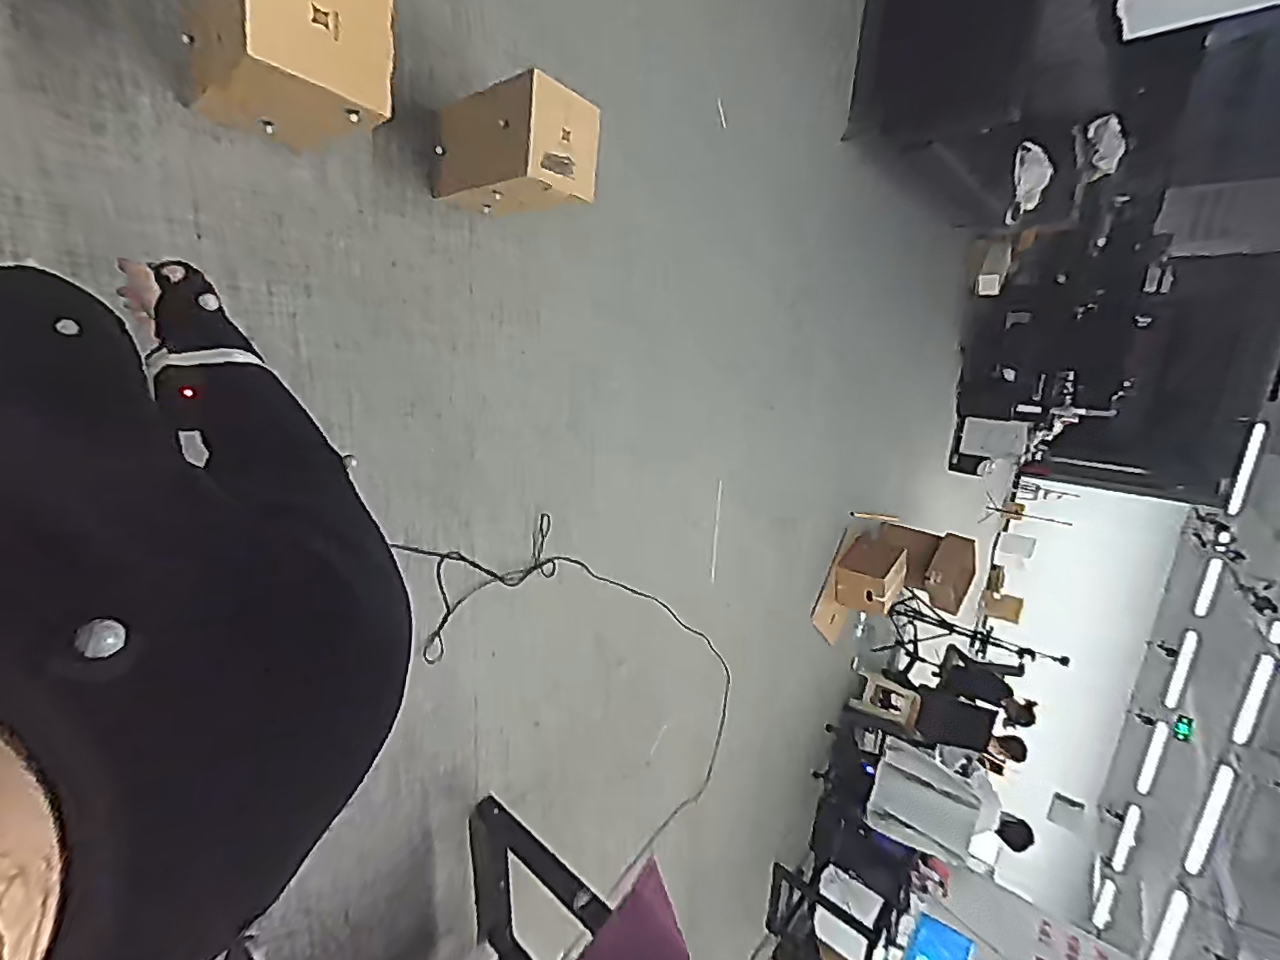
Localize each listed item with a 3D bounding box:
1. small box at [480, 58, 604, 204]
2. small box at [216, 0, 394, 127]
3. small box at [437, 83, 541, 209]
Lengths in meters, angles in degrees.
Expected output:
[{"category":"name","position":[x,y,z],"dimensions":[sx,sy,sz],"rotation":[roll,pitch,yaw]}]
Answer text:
[{"category":"small box","position":[-0.193,-0.655,1.045],"dimensions":[0.168,0.176,0.179],"rotation":[-6,106,-49]},{"category":"small box","position":[-0.462,-0.618,0.743],"dimensions":[0.179,0.176,0.168],"rotation":[-6,106,-49]},{"category":"small box","position":[-0.315,-0.693,1.149],"dimensions":[0.168,0.176,0.179],"rotation":[-8,109,-49]}]
